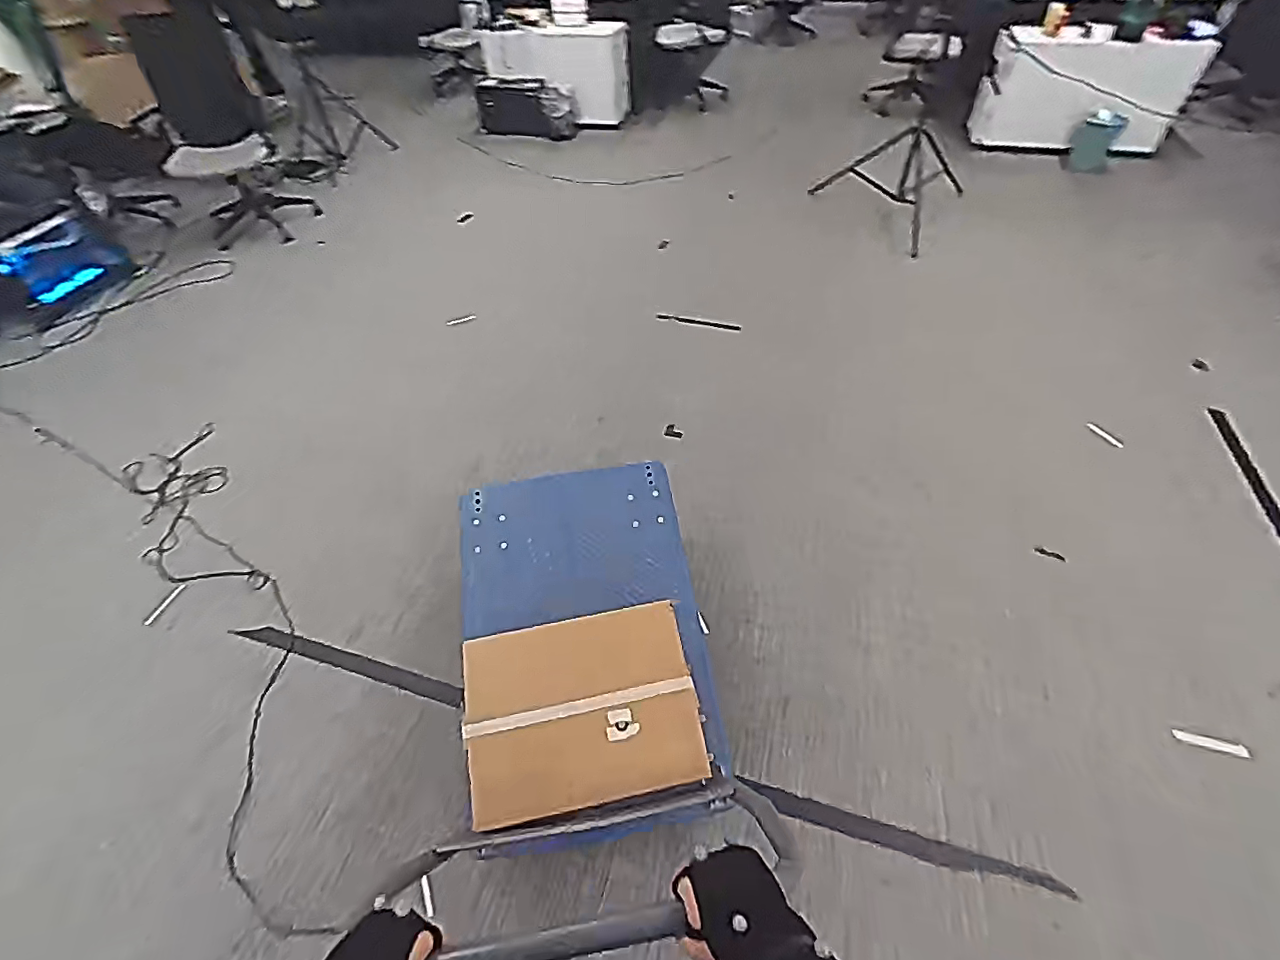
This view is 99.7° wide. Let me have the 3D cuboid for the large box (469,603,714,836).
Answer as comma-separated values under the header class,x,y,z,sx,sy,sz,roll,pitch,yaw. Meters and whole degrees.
class,x,y,z,sx,sy,sz,roll,pitch,yaw
large box,-0.100,0.484,1.109,0.408,0.320,0.320,-11,64,-7
